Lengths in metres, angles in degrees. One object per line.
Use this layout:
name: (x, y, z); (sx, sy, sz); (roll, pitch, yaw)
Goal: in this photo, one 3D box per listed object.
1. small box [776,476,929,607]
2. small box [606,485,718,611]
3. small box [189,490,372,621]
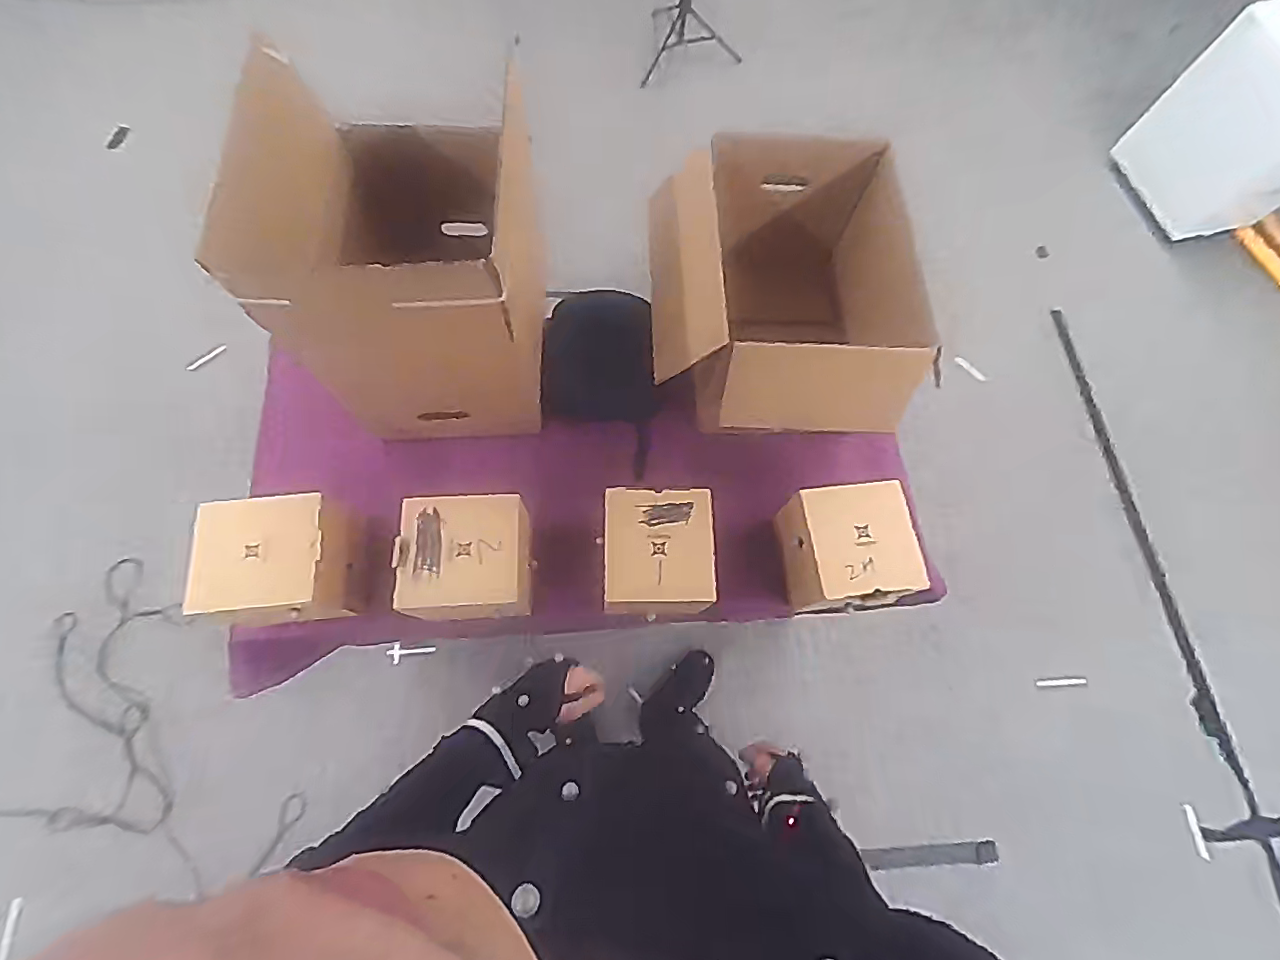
small box: (0.341, 0.108, 0.908); (0.168, 0.176, 0.179); (-6, 71, -4)
small box: (0.028, 0.117, 0.889); (0.168, 0.176, 0.179); (0, 71, -3)
small box: (-0.552, 0.126, 0.855); (0.179, 0.176, 0.168); (-5, 71, -6)
